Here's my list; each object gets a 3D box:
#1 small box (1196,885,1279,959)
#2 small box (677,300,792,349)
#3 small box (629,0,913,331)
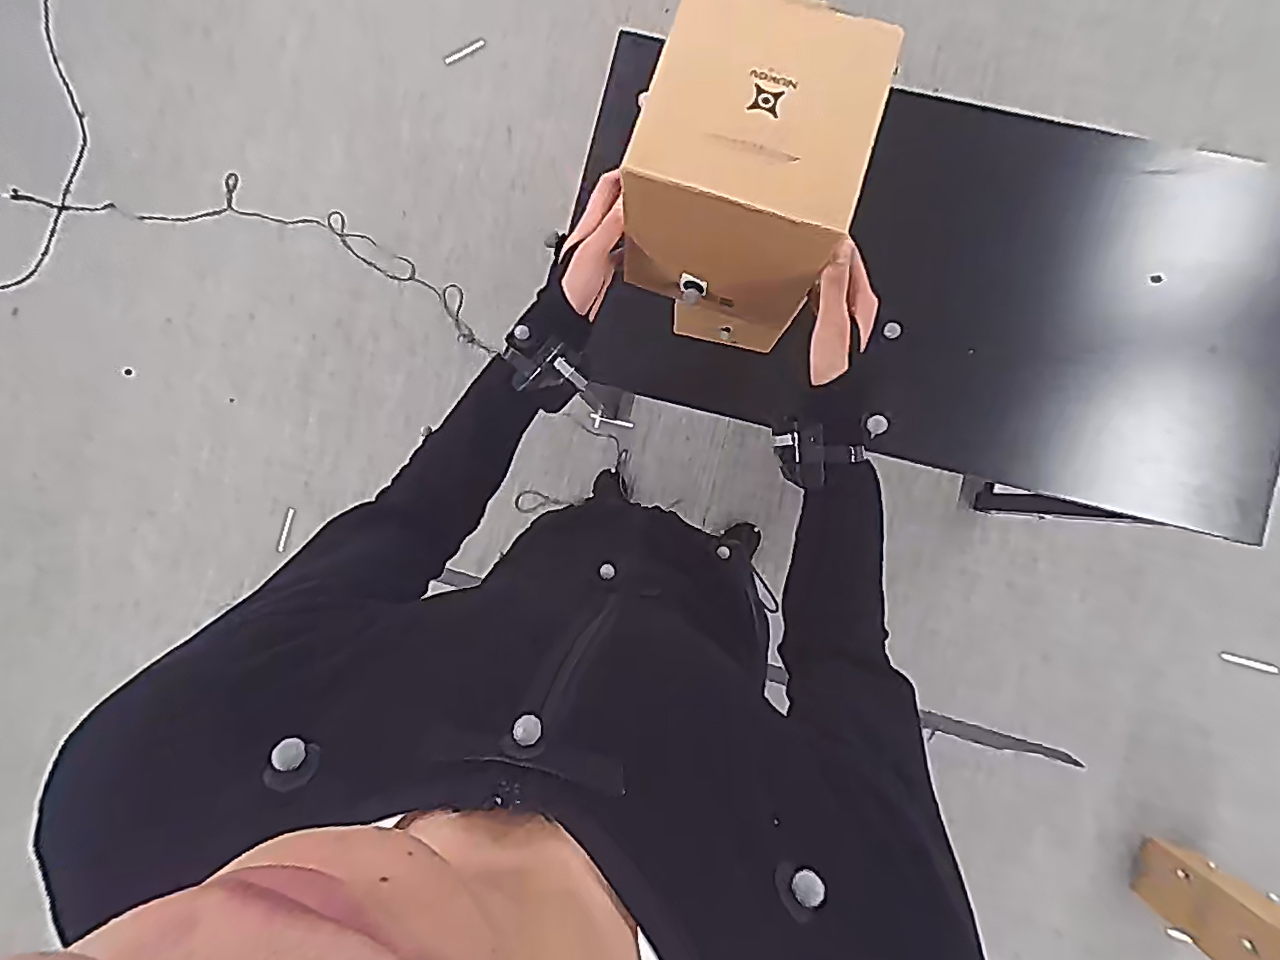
[{"bbox_3d":[1.493,1.118,1.284,0.168,0.176,0.179,15,91,3],"label":"small box"},{"bbox_3d":[0.155,-0.314,0.823,0.168,0.176,0.179,13,90,3],"label":"small box"},{"bbox_3d":[0.092,-0.257,0.457,0.168,0.176,0.179,18,83,2],"label":"small box"}]
